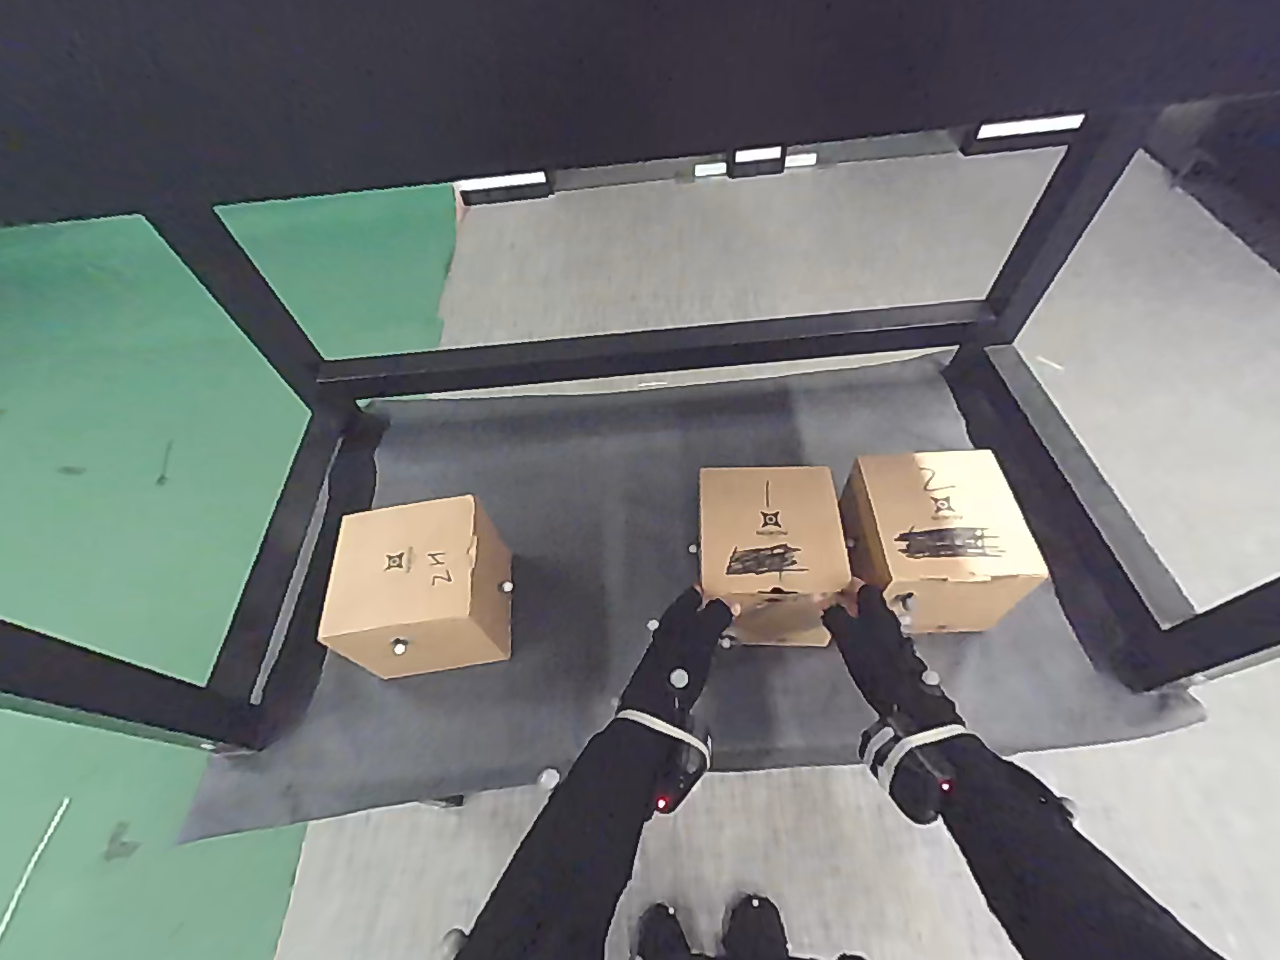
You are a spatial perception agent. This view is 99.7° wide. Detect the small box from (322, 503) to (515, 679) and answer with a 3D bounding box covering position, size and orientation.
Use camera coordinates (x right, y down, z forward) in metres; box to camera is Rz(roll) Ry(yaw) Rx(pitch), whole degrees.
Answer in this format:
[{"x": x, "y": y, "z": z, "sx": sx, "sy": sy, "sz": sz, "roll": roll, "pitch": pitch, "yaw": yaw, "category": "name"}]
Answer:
[{"x": -0.277, "y": 0.154, "z": 0.721, "sx": 0.179, "sy": 0.176, "sz": 0.168, "roll": -8, "pitch": 55, "yaw": -1, "category": "small box"}]
